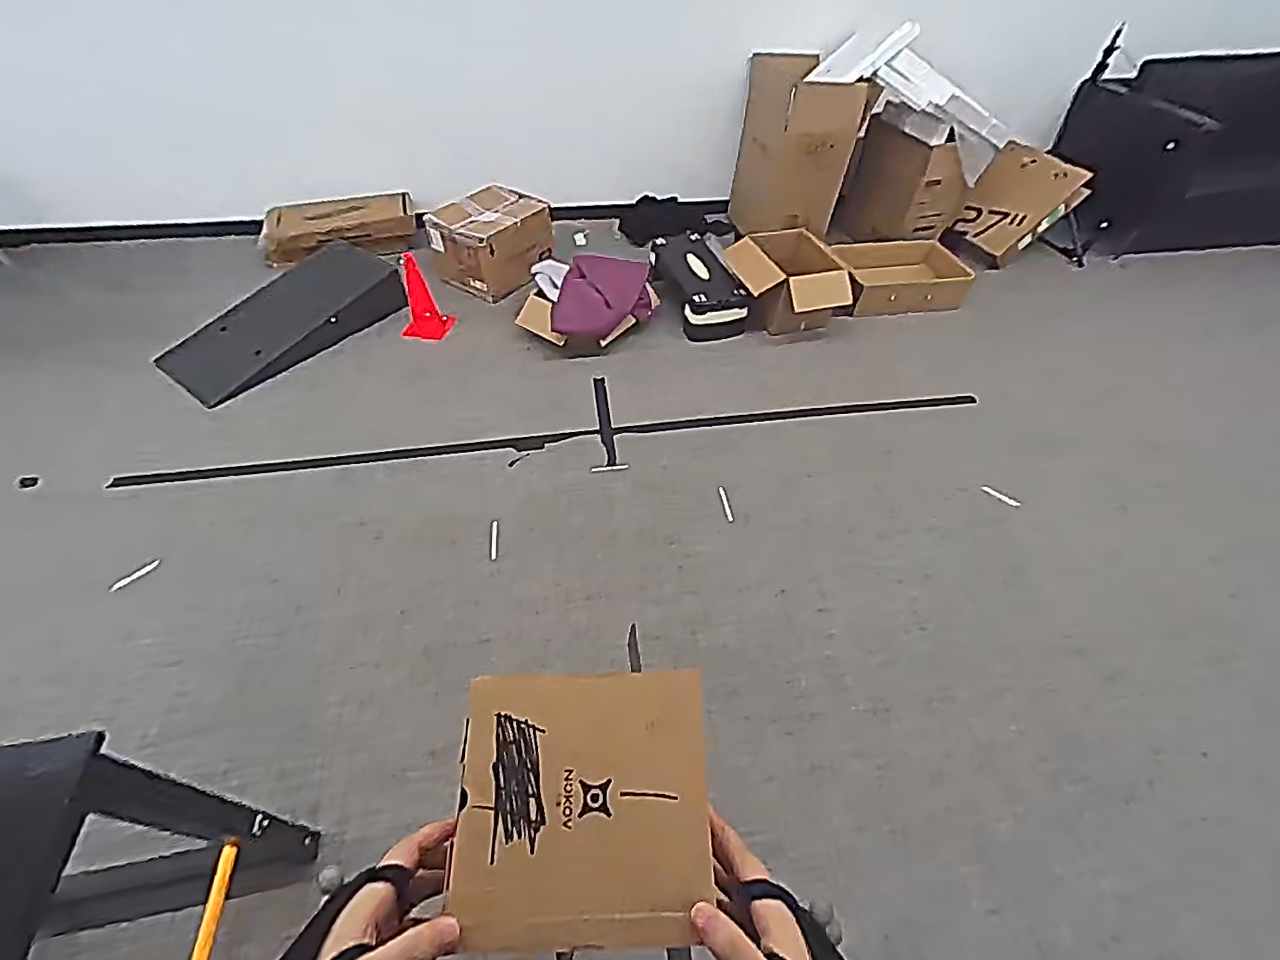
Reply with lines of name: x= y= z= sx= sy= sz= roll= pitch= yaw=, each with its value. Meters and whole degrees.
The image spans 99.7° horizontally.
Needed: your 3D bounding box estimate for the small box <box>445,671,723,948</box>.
small box: x=-0.037 y=0.259 z=0.442 sx=0.179 sy=0.176 sz=0.168 roll=0 pitch=60 yaw=-2
